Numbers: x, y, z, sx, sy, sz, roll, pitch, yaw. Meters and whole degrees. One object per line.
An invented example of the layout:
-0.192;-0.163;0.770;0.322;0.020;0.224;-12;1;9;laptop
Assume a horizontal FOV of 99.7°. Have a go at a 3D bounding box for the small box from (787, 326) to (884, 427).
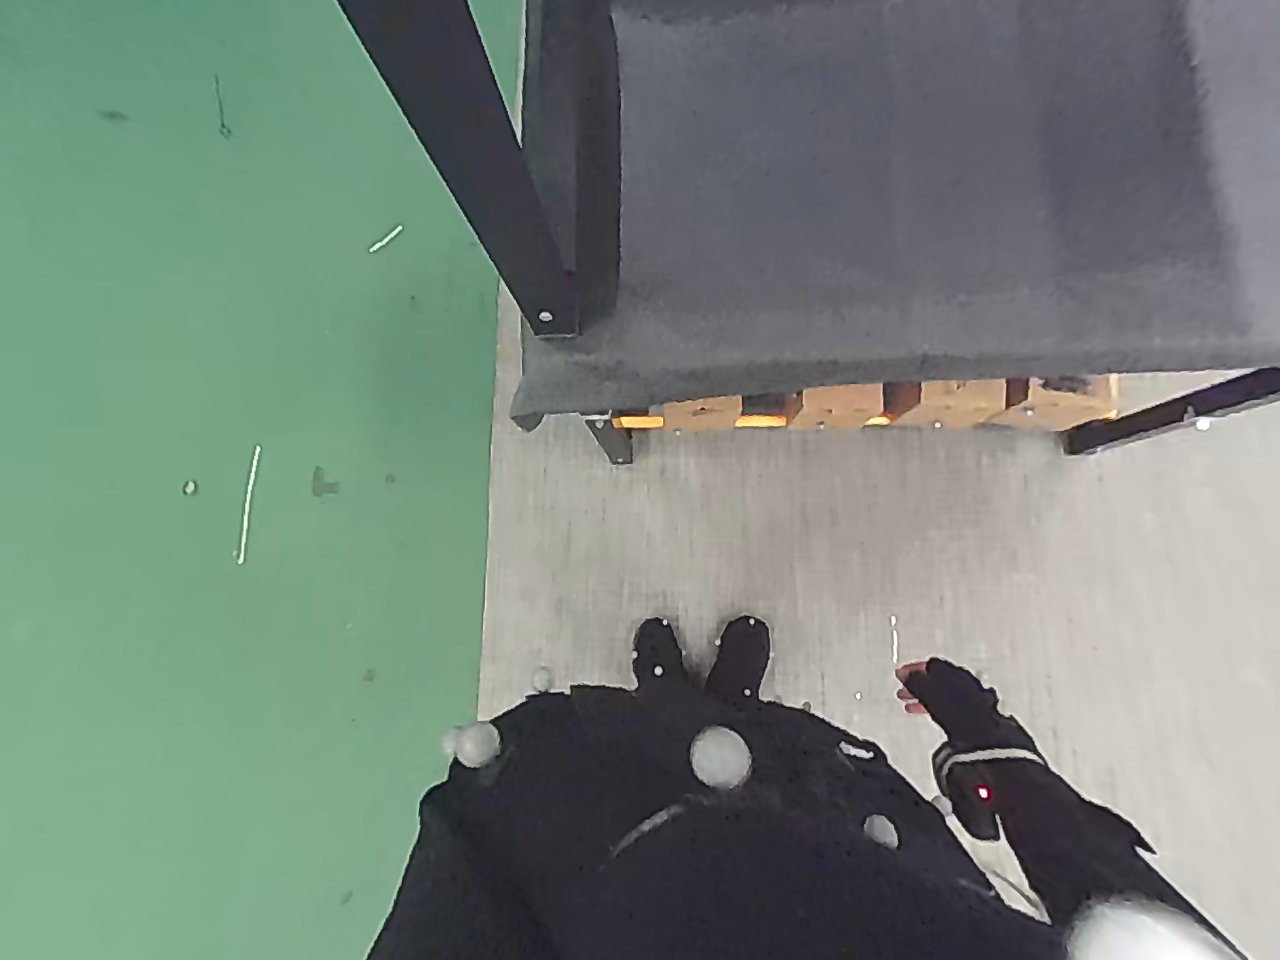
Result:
0.423;-0.224;1.195;0.168;0.176;0.179;1;83;4;small box
